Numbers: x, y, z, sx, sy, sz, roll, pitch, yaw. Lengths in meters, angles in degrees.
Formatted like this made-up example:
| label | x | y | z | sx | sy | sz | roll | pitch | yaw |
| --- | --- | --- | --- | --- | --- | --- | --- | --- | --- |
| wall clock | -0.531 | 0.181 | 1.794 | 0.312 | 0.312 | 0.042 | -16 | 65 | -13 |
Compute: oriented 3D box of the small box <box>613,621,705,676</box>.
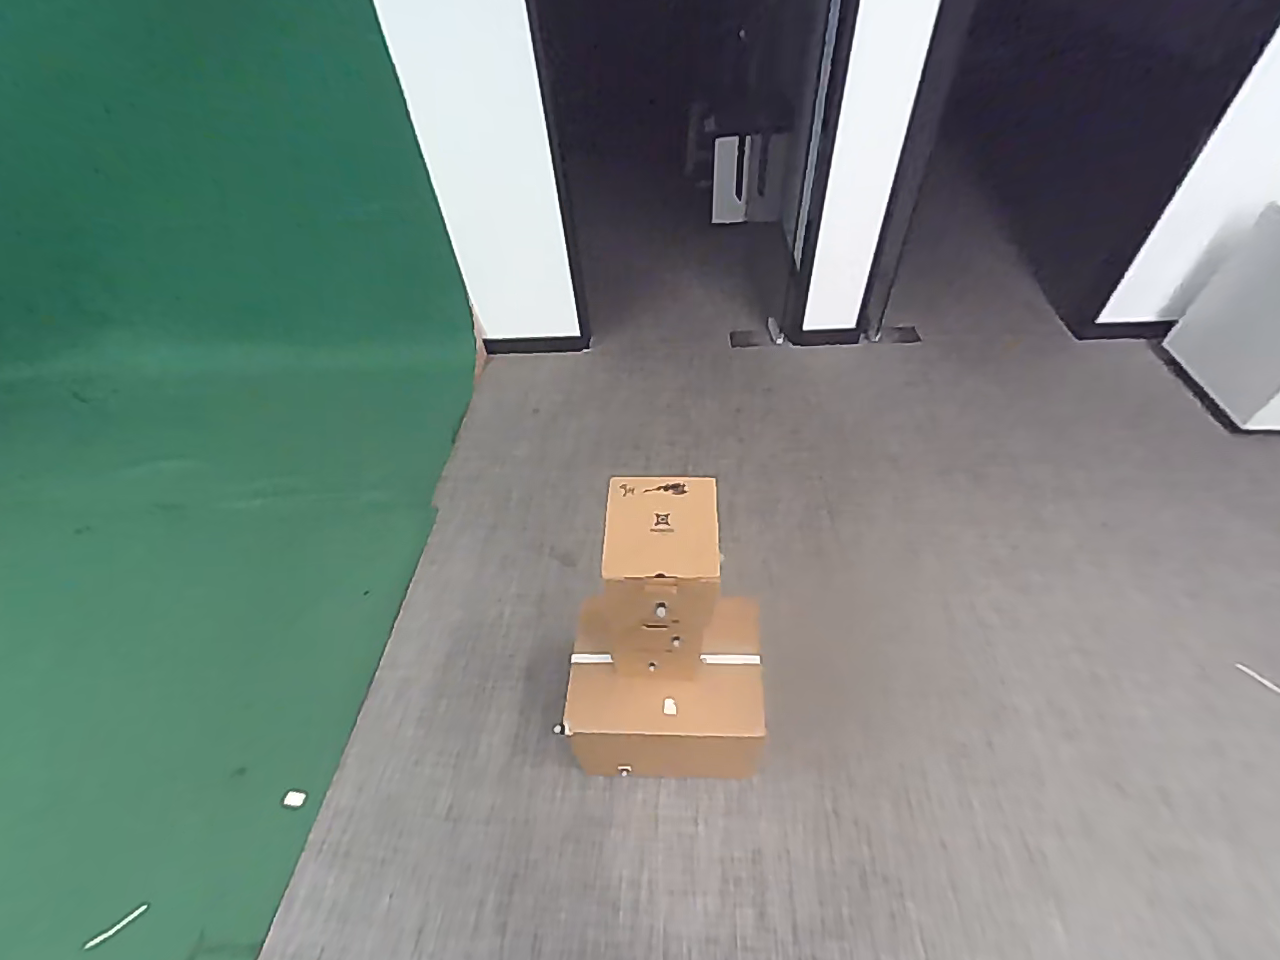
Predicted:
| label | x | y | z | sx | sy | sz | roll | pitch | yaw |
| --- | --- | --- | --- | --- | --- | --- | --- | --- | --- |
| small box | 0.041 | 0.302 | 1.127 | 0.179 | 0.176 | 0.168 | -1 | 54 | 4 |

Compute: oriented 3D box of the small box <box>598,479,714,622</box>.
| label | x | y | z | sx | sy | sz | roll | pitch | yaw |
| --- | --- | --- | --- | --- | --- | --- | --- | --- | --- |
| small box | 0.032 | 0.116 | 0.860 | 0.168 | 0.176 | 0.179 | 0 | 54 | 4 |

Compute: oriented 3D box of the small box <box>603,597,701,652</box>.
| label | x | y | z | sx | sy | sz | roll | pitch | yaw |
| --- | --- | --- | --- | --- | --- | --- | --- | --- | --- |
| small box | 0.029 | 0.206 | 0.997 | 0.168 | 0.176 | 0.179 | 0 | 53 | 3 |
